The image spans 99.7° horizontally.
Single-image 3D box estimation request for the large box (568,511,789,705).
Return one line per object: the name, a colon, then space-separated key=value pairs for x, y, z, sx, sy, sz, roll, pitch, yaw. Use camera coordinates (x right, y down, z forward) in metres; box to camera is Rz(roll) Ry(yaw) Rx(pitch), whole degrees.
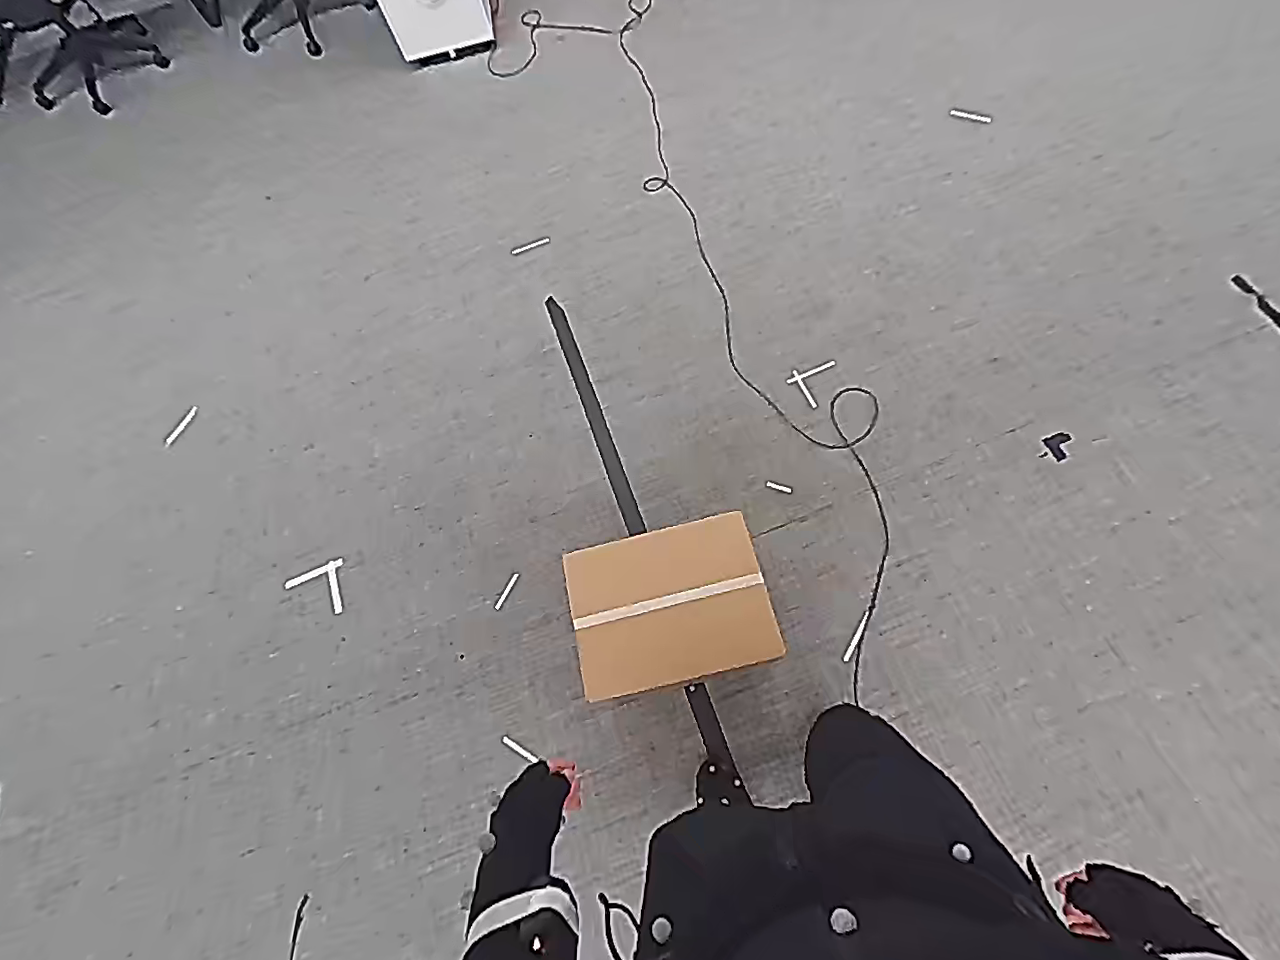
large box: x=0.085 y=0.310 z=1.249 sx=0.408 sy=0.320 sz=0.320 roll=-15 pitch=68 yaw=2
